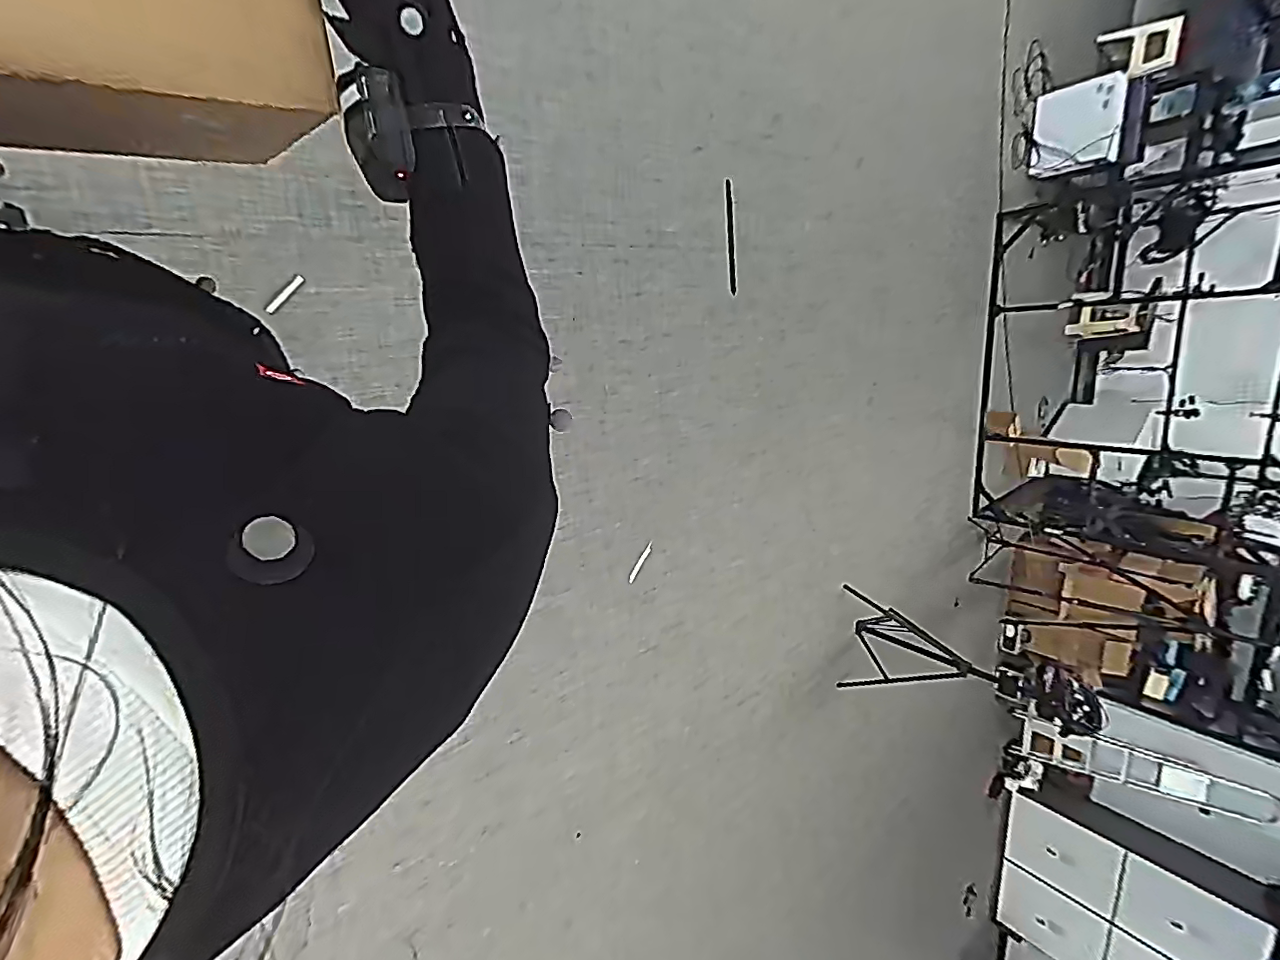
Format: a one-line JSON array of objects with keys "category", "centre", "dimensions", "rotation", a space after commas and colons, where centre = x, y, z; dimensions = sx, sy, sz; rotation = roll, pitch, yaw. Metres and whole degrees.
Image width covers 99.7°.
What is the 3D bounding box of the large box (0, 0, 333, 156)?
[{"category": "large box", "centre": [-0.453, -0.373, 0.283], "dimensions": [0.408, 0.320, 0.320], "rotation": [-20, 122, -36]}]
